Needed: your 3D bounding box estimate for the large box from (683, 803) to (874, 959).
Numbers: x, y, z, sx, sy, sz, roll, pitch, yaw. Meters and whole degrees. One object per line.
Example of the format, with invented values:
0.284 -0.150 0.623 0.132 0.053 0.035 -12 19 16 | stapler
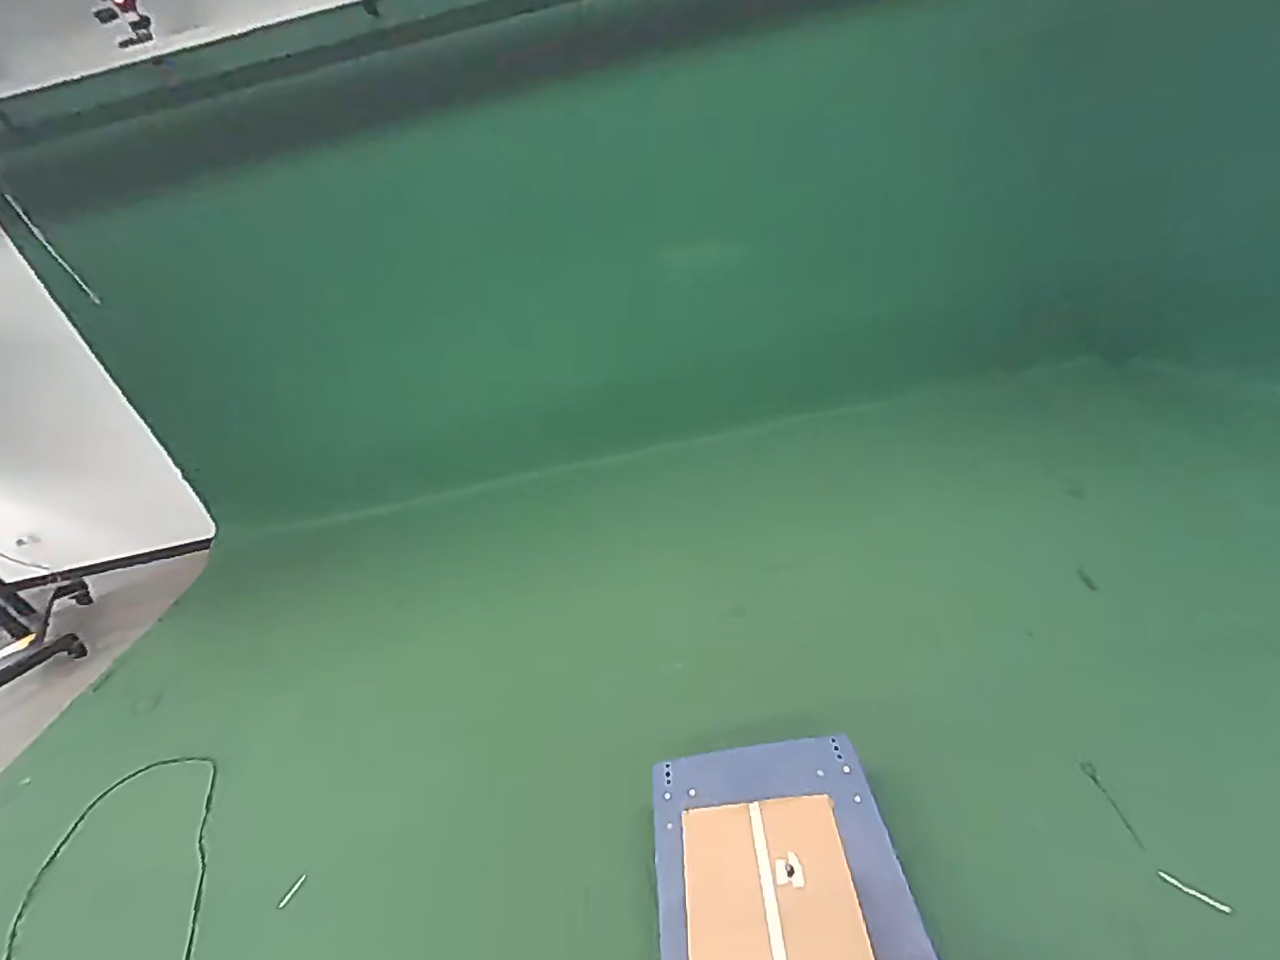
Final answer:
0.273 0.924 1.039 0.320 0.320 0.408 -10 28 7 | large box
